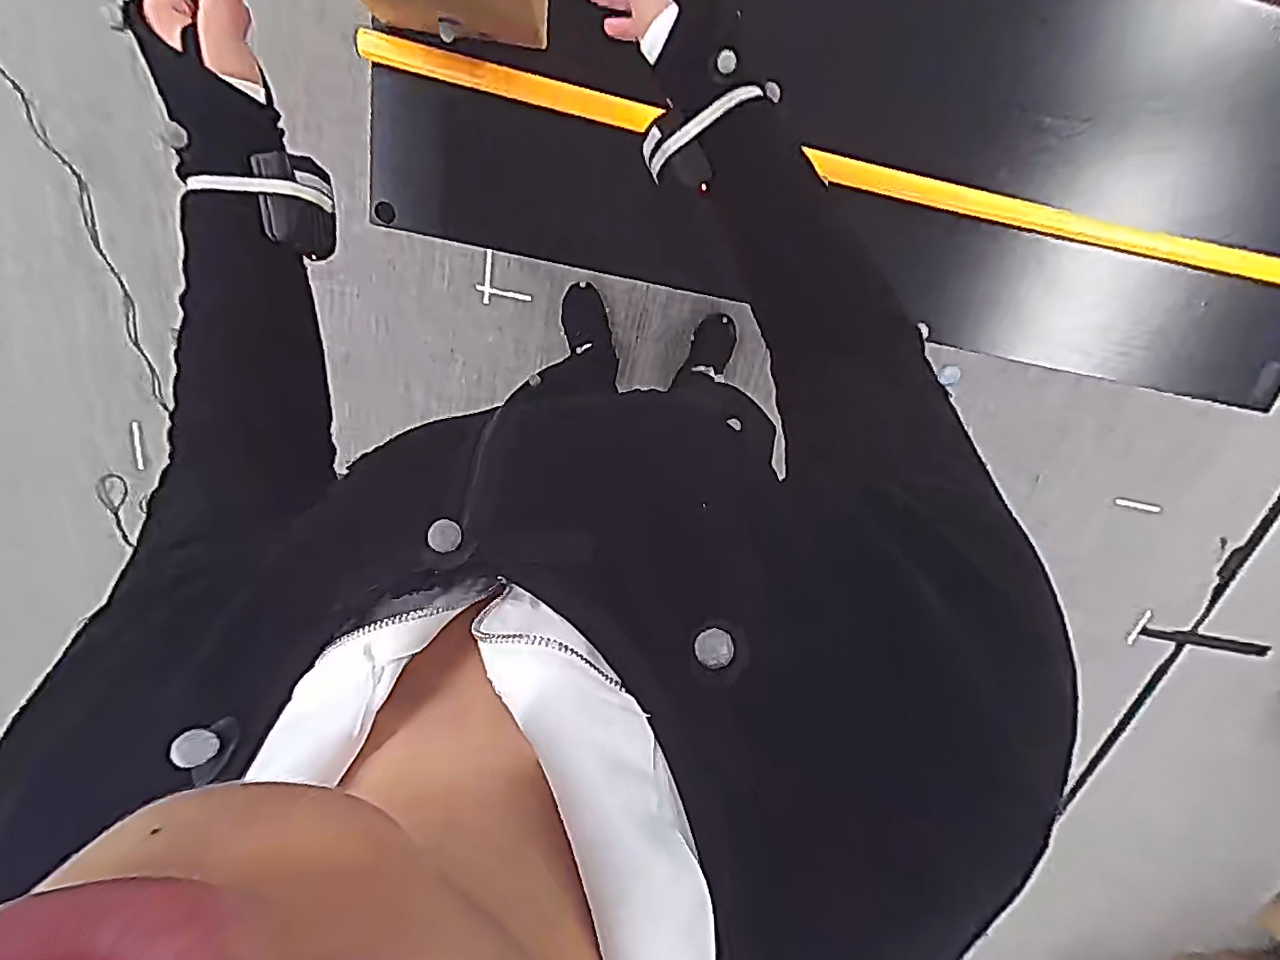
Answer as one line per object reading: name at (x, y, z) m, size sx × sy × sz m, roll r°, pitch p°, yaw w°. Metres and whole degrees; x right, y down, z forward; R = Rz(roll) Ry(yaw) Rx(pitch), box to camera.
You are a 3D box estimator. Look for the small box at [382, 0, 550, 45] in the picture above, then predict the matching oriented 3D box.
small box at (-0.163, -0.509, 0.453) m, size 0.168 × 0.176 × 0.179 m, roll 5°, pitch 114°, yaw -5°
